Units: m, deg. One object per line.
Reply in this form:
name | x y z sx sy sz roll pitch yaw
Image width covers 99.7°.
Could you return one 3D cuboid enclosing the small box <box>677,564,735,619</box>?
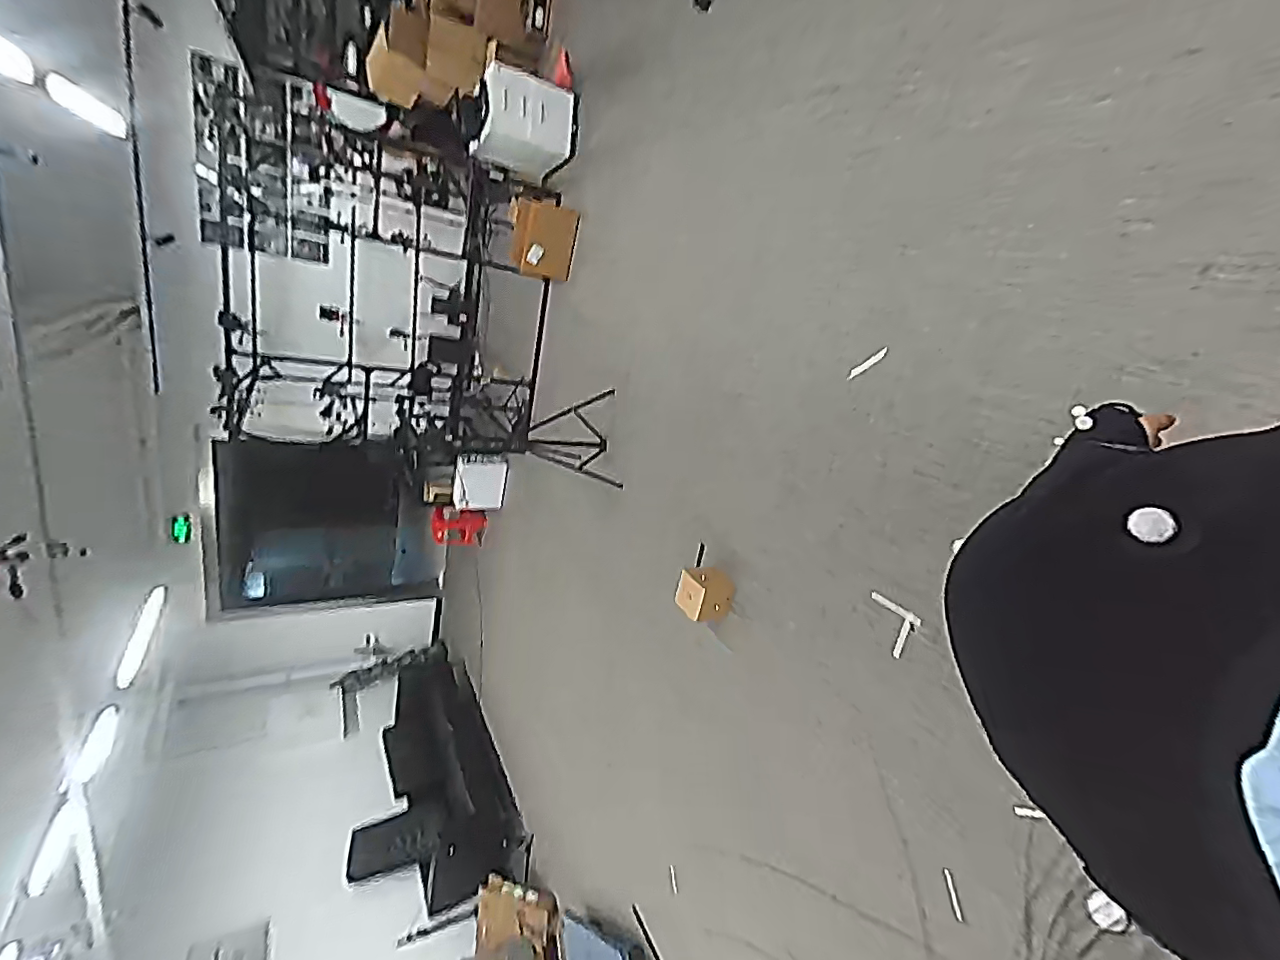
small box | 0.290 0.479 2.366 0.179 0.176 0.168 42 124 52
